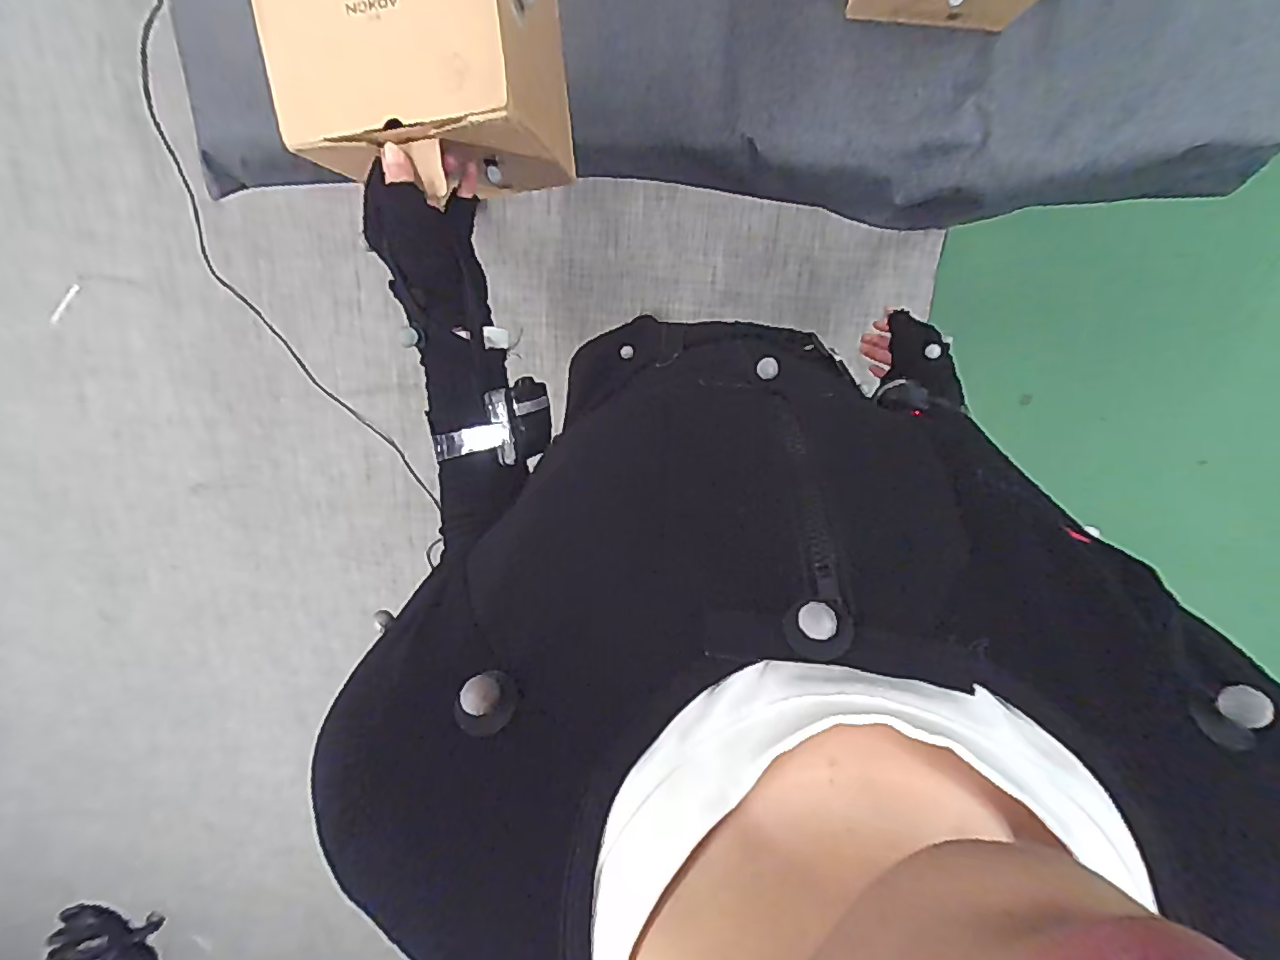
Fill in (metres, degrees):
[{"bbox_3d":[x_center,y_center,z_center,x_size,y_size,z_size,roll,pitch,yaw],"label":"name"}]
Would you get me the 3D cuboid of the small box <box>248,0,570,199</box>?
[{"bbox_3d":[-0.159,-0.330,0.411,0.168,0.176,0.179,-4,103,8],"label":"small box"}]
